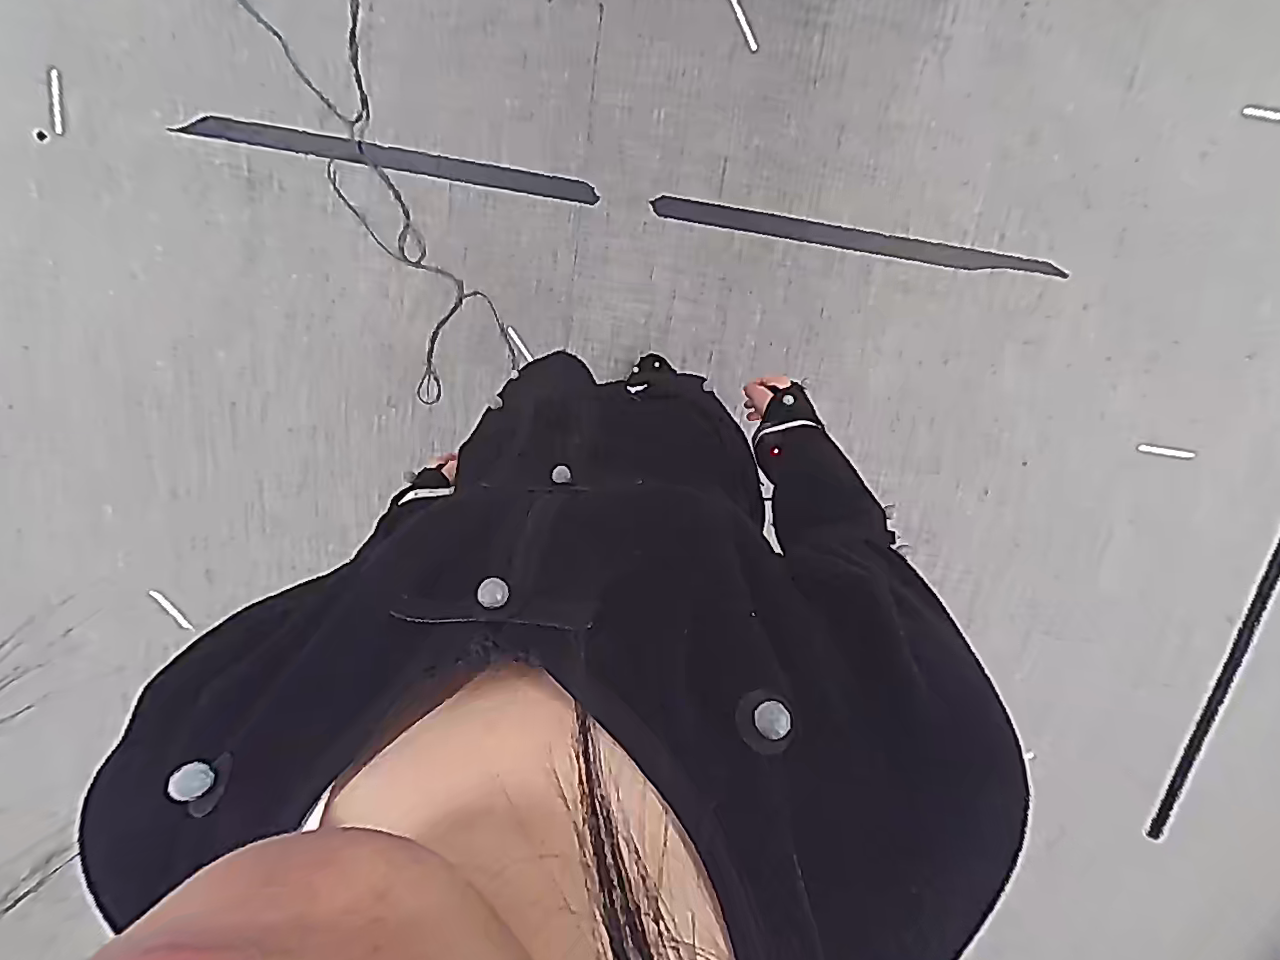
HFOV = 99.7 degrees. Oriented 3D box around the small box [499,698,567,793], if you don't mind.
[{"bbox_3d":[-0.300,0.753,1.542,0.168,0.176,0.179,3,104,-1],"label":"small box"}]
